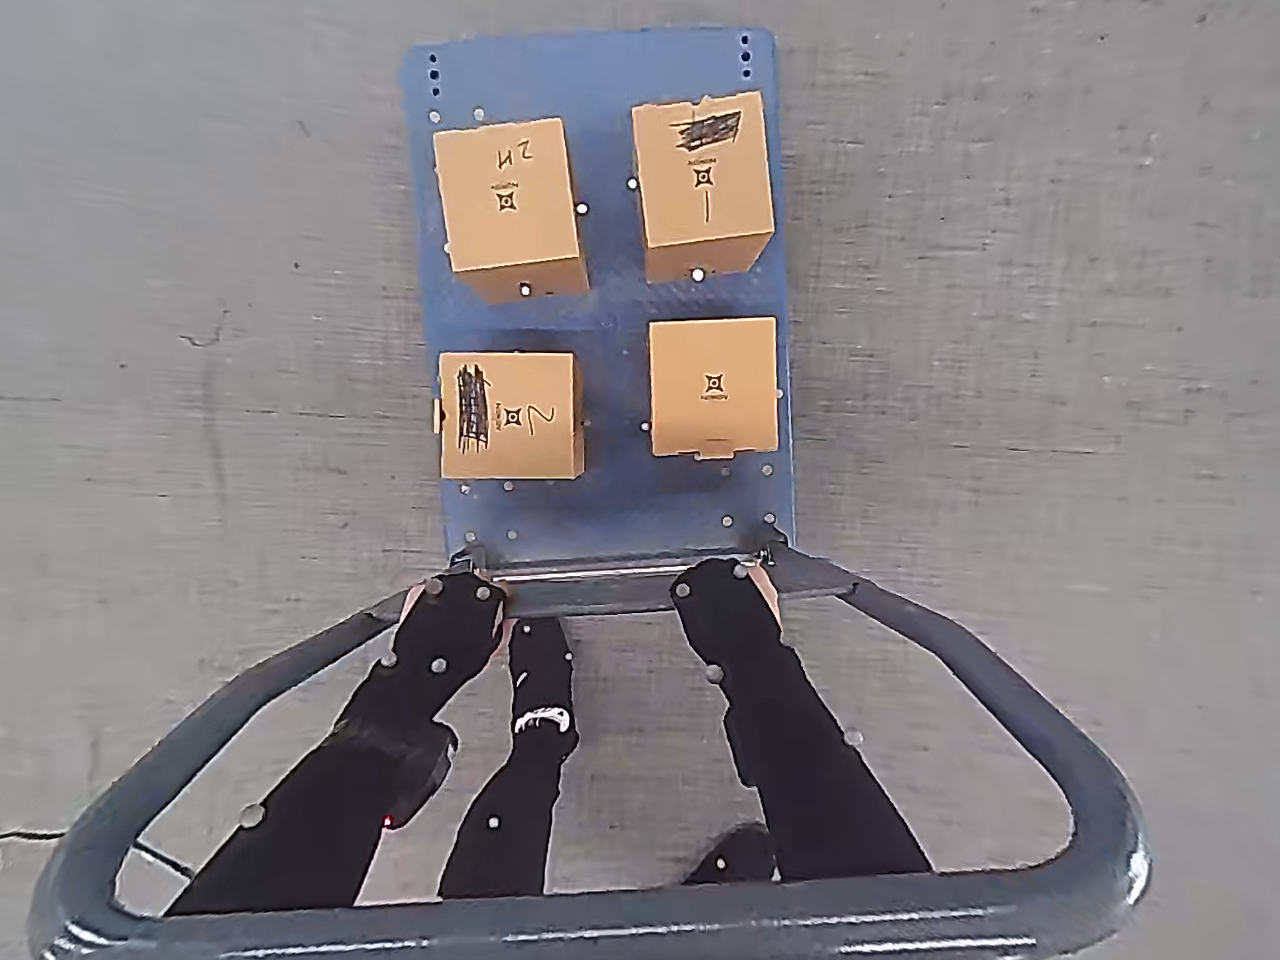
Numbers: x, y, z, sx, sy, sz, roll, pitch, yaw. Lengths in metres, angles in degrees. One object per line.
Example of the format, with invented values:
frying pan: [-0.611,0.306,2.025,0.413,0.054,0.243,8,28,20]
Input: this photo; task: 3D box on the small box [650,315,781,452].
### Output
small box: [0.100,-0.130,0.782,0.168,0.176,0.179,-2,95,0]

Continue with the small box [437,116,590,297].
small box: [-0.165,-0.367,0.762,0.168,0.176,0.179,-7,94,0]

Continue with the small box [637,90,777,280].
small box: [0.085,-0.399,0.760,0.168,0.176,0.179,-6,96,1]
